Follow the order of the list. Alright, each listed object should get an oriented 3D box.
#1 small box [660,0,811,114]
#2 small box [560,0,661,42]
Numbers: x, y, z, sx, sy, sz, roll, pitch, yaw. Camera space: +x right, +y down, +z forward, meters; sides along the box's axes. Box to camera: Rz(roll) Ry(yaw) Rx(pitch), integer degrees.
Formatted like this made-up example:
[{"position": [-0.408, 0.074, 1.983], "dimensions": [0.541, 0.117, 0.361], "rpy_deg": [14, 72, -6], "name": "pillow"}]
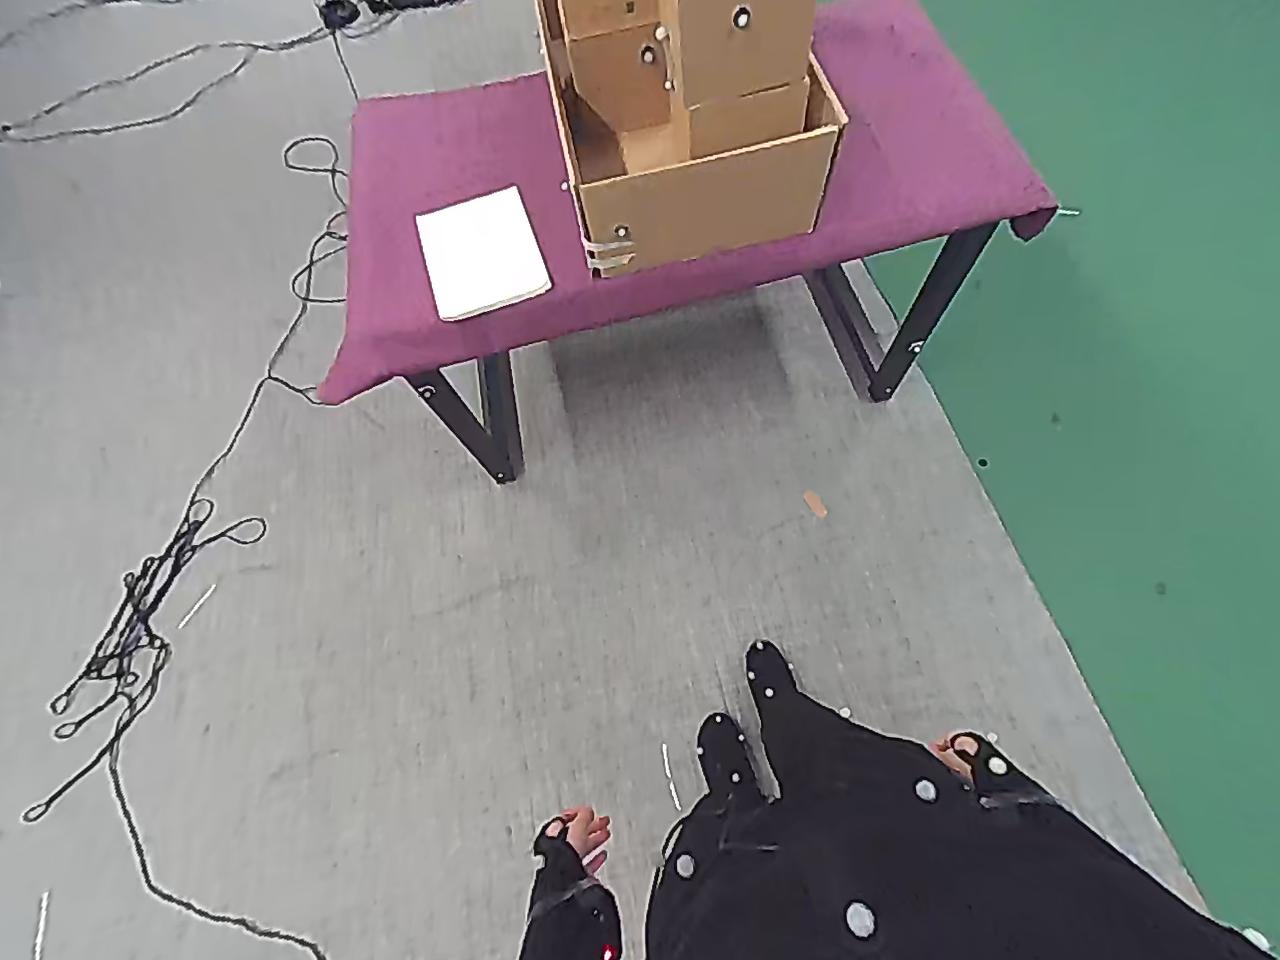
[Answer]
[{"position": [0.120, -0.632, 0.718], "dimensions": [0.179, 0.176, 0.168], "rpy_deg": [-12, 65, 4], "name": "small box"}, {"position": [-0.052, -0.805, 0.819], "dimensions": [0.168, 0.176, 0.179], "rpy_deg": [-11, 67, 2], "name": "small box"}]
